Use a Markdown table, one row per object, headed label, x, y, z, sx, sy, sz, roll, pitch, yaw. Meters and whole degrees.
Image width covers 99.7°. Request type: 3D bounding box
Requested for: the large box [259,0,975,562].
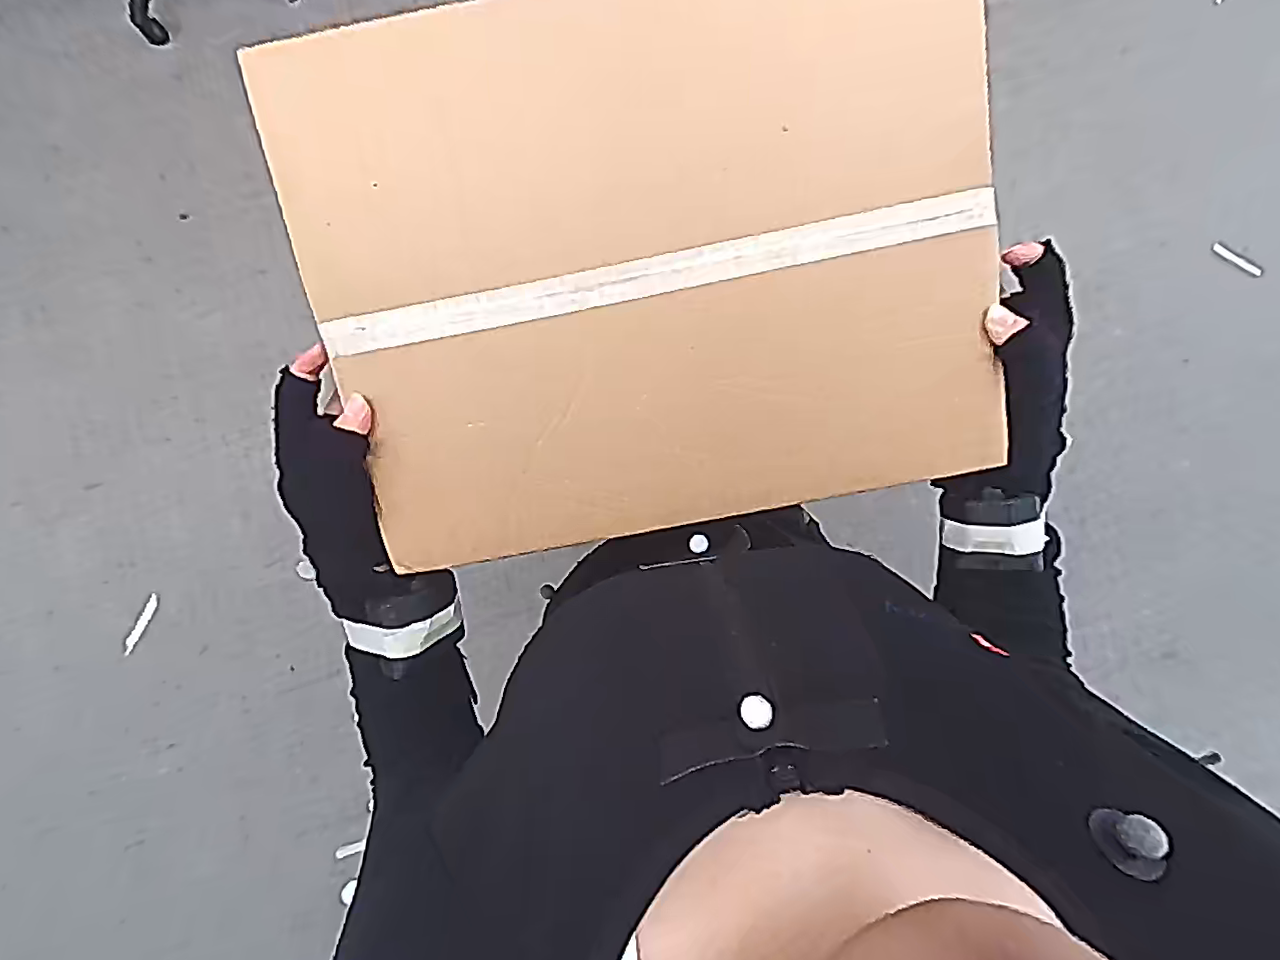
| label | x | y | z | sx | sy | sz | roll | pitch | yaw |
| --- | --- | --- | --- | --- | --- | --- | --- | --- | --- |
| large box | 0.002 | -0.160 | 0.480 | 0.408 | 0.320 | 0.320 | -11 | 102 | 2 |
